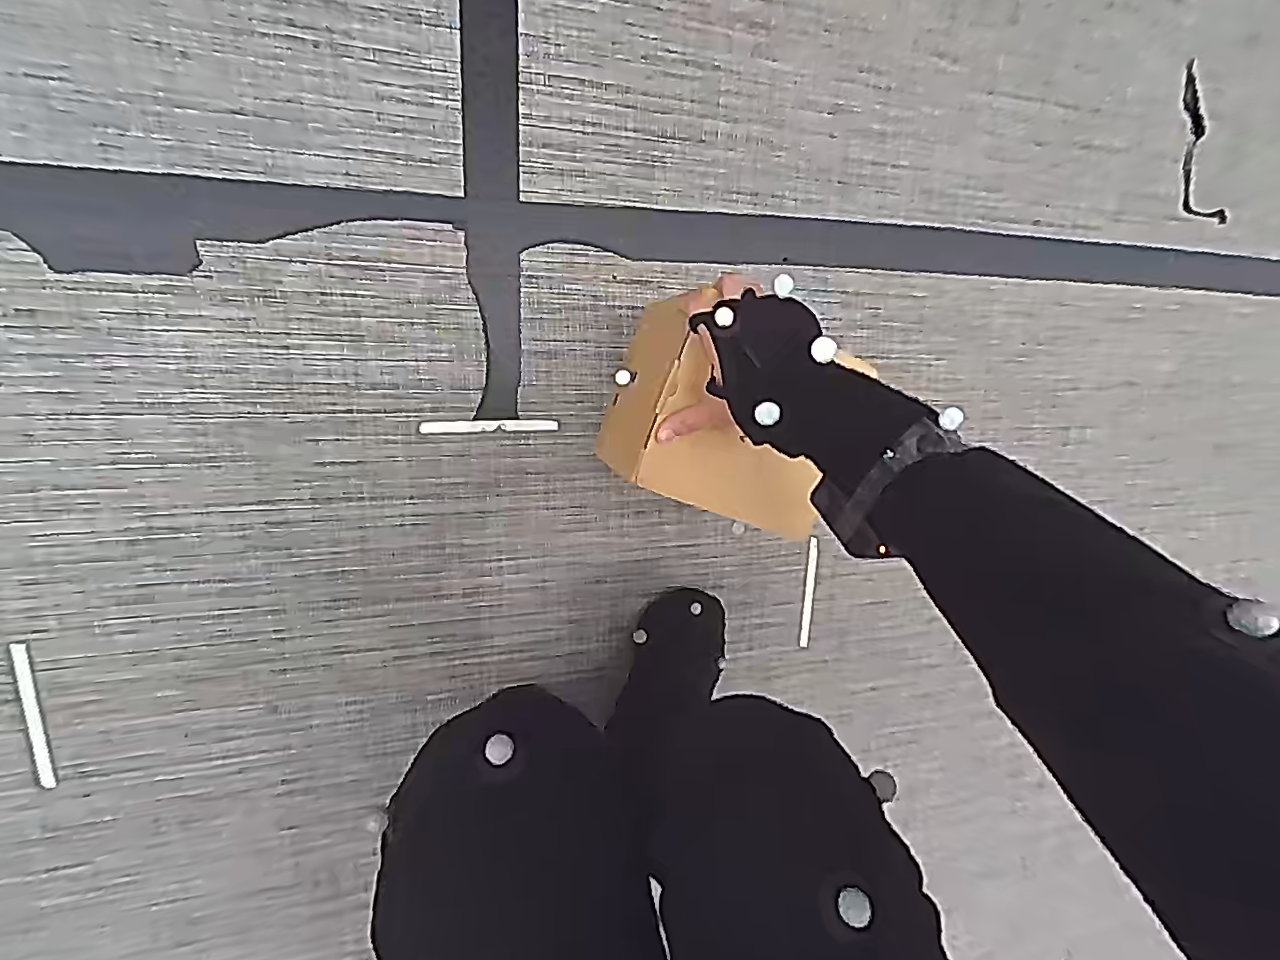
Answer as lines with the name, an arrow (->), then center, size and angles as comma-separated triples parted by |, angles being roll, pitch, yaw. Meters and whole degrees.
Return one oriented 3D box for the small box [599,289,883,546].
small box -> 0.081, -0.061, 0.519 | 0.179, 0.176, 0.168 | 22, 96, -19
